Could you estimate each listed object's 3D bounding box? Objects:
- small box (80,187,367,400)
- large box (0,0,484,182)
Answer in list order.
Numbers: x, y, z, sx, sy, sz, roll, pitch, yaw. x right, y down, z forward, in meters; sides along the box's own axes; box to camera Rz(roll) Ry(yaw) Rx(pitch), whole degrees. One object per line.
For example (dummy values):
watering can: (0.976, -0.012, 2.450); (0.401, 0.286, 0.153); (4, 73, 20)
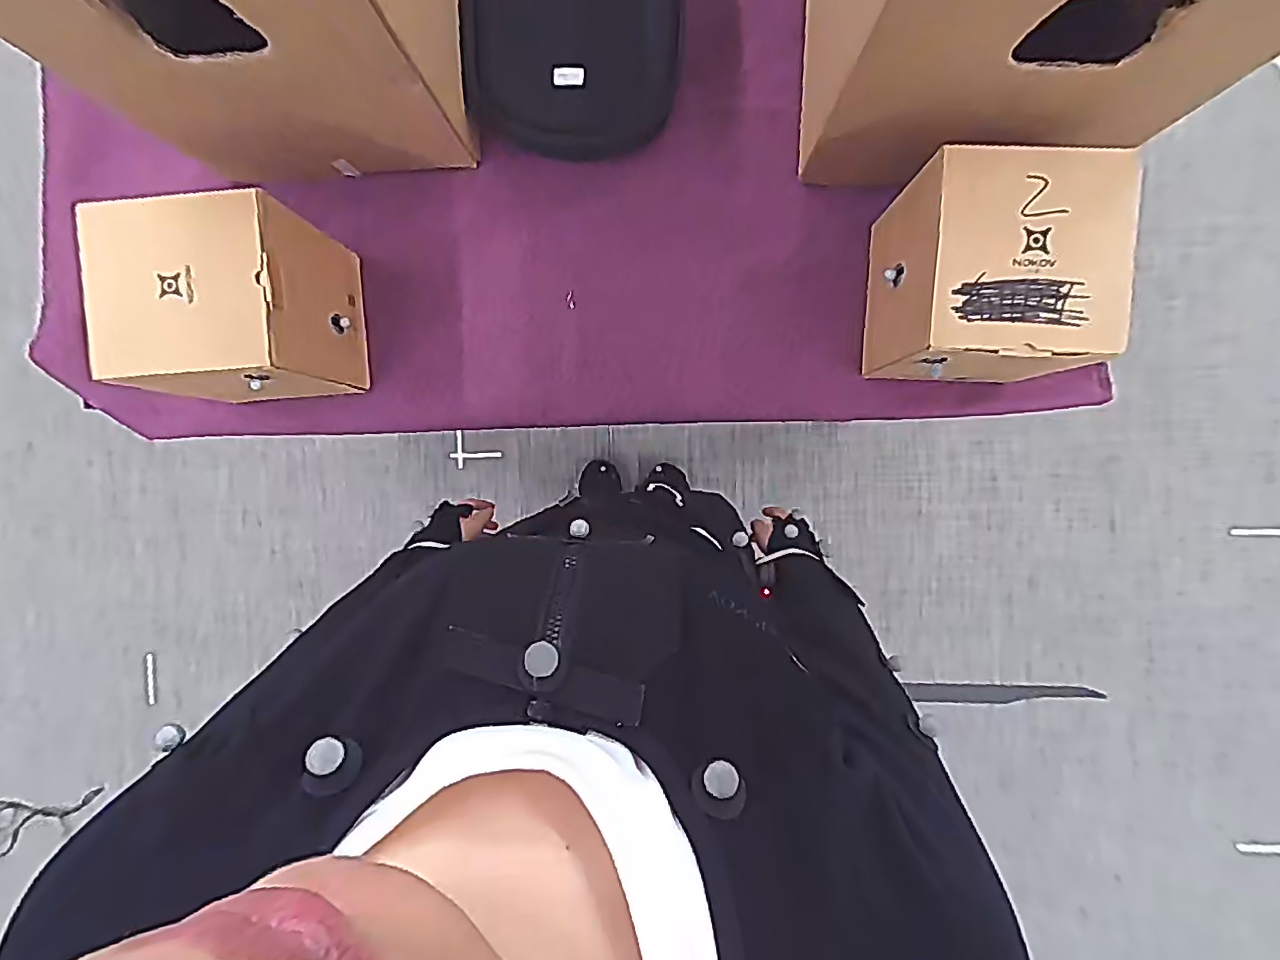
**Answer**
small box: (-0.426, -0.183, 0.579); (0.179, 0.176, 0.168); (-5, 91, 2)
large box: (-0.353, -0.555, 0.492); (0.320, 0.320, 0.408); (-3, 95, 3)
